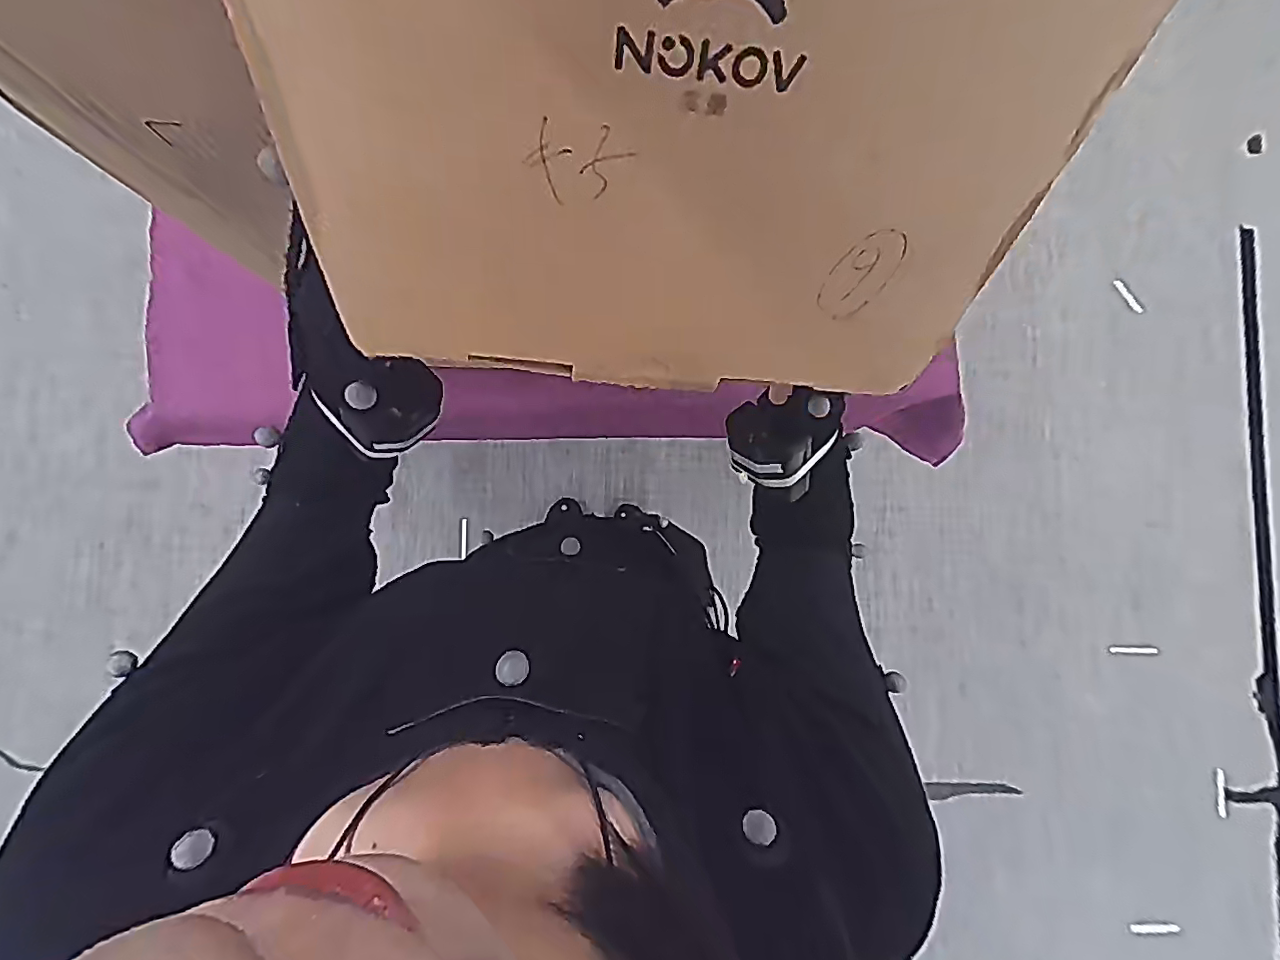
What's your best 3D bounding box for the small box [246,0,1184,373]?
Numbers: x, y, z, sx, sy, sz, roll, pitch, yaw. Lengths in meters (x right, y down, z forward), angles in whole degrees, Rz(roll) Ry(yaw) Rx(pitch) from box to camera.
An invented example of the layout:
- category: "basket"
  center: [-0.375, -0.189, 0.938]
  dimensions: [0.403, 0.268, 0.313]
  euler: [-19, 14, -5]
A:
- category: "small box"
  center: [0.013, -0.154, 0.137]
  dimensions: [0.168, 0.179, 0.176]
  euler: [3, 51, -8]
